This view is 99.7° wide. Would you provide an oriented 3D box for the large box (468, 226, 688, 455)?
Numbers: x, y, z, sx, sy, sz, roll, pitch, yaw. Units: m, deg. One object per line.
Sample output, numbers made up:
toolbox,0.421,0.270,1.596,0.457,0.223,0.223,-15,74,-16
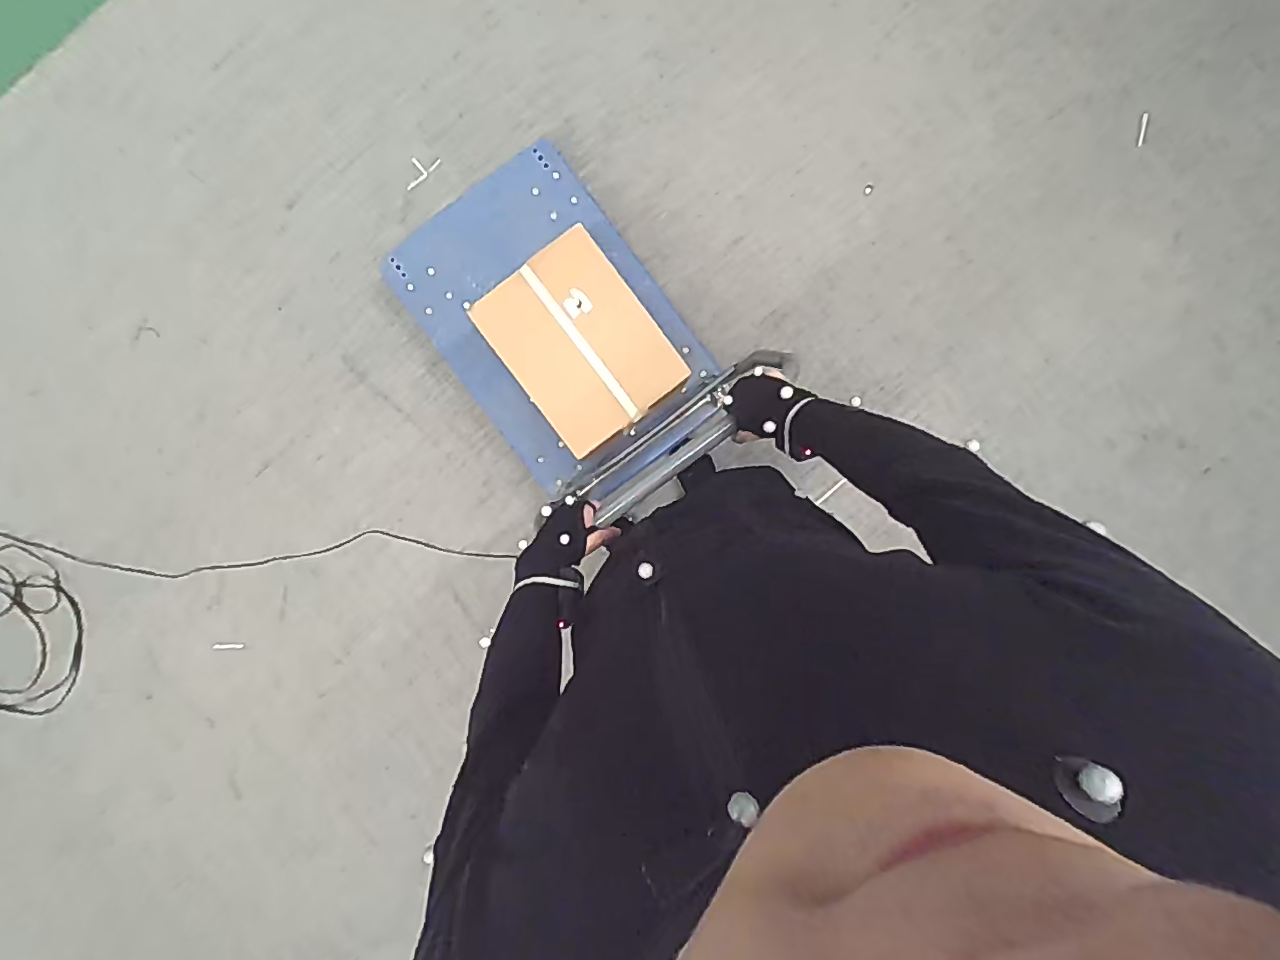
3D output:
large box,-0.130,-0.307,1.317,0.320,0.320,0.408,-37,90,1
